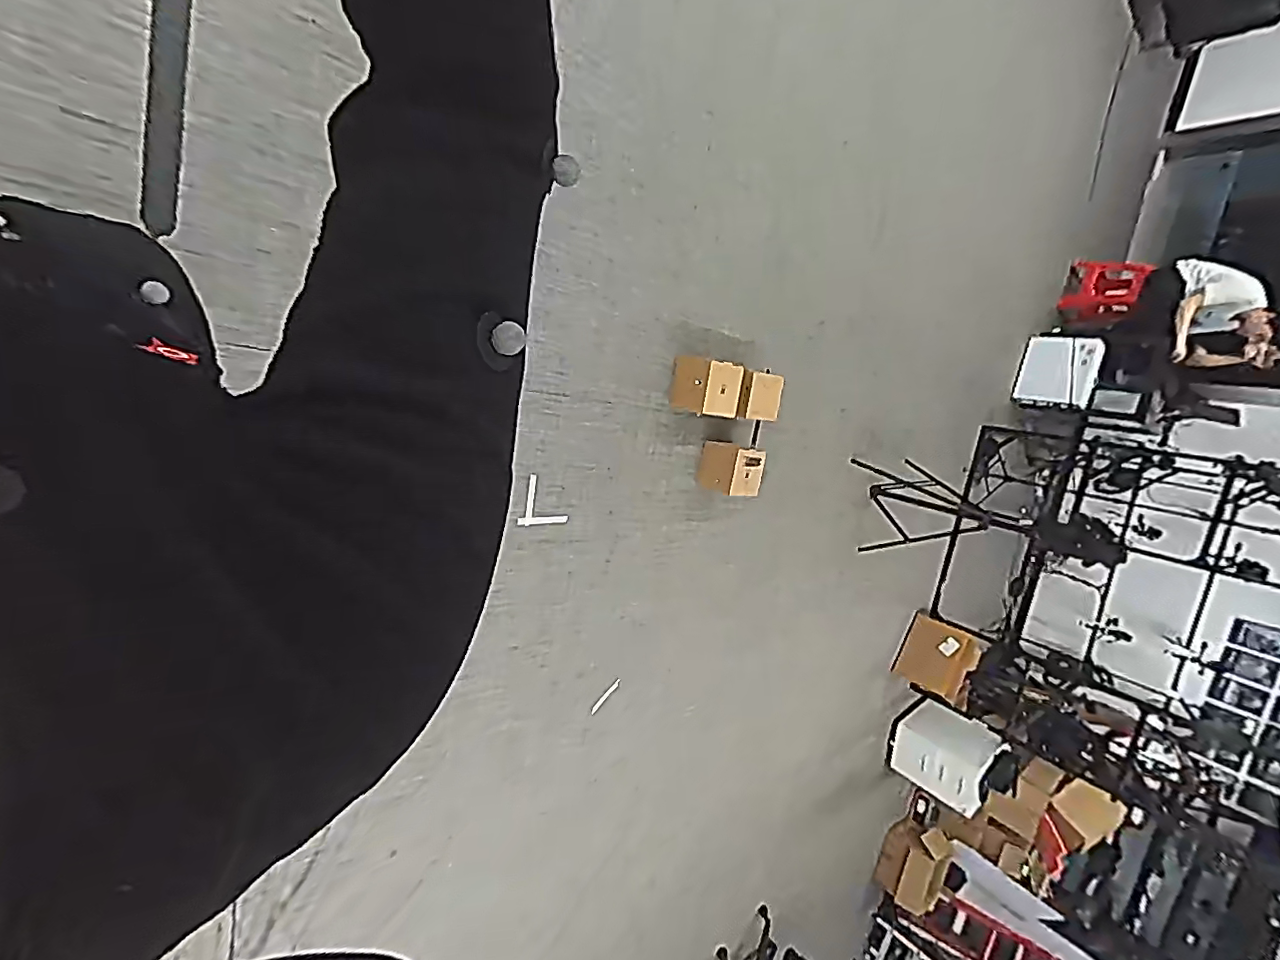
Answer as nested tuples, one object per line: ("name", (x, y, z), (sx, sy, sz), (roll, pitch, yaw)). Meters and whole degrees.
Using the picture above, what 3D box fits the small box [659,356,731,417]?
("small box", (0.186, -0.323, 1.867), (0.168, 0.176, 0.179), (1, 102, -41))
